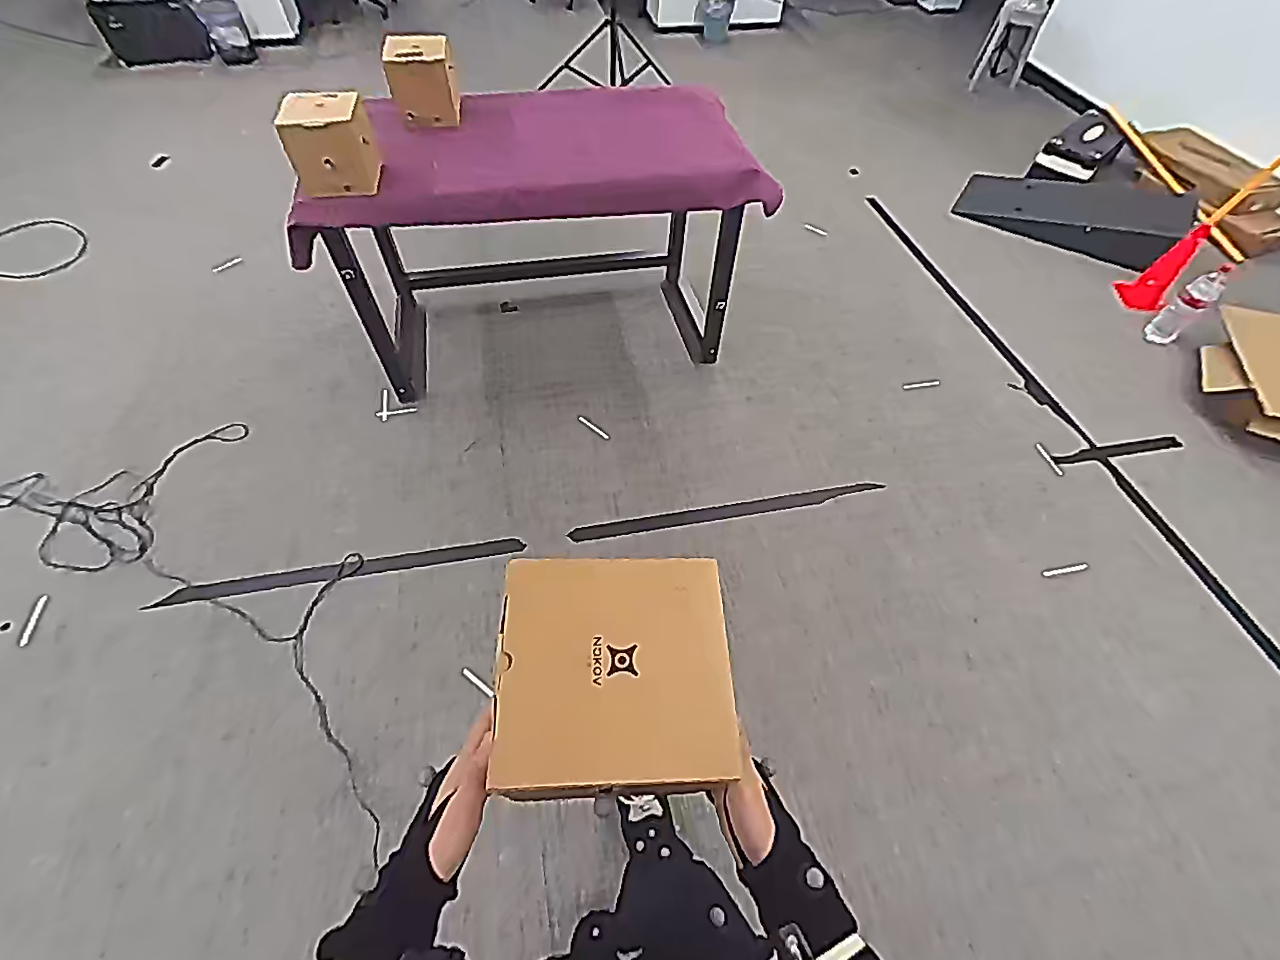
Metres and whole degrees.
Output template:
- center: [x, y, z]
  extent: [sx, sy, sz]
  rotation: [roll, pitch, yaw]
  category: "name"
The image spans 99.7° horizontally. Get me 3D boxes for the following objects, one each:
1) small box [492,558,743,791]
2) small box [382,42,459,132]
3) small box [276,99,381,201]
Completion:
- center: [-0.022, 0.177, 0.478]
  extent: [0.179, 0.176, 0.168]
  rotation: [0, 58, -4]
  category: "small box"
- center: [-0.630, -1.138, 1.572]
  extent: [0.168, 0.176, 0.179]
  rotation: [-7, 56, -7]
  category: "small box"
- center: [-0.757, -0.810, 1.336]
  extent: [0.168, 0.176, 0.179]
  rotation: [-7, 56, -8]
  category: "small box"
